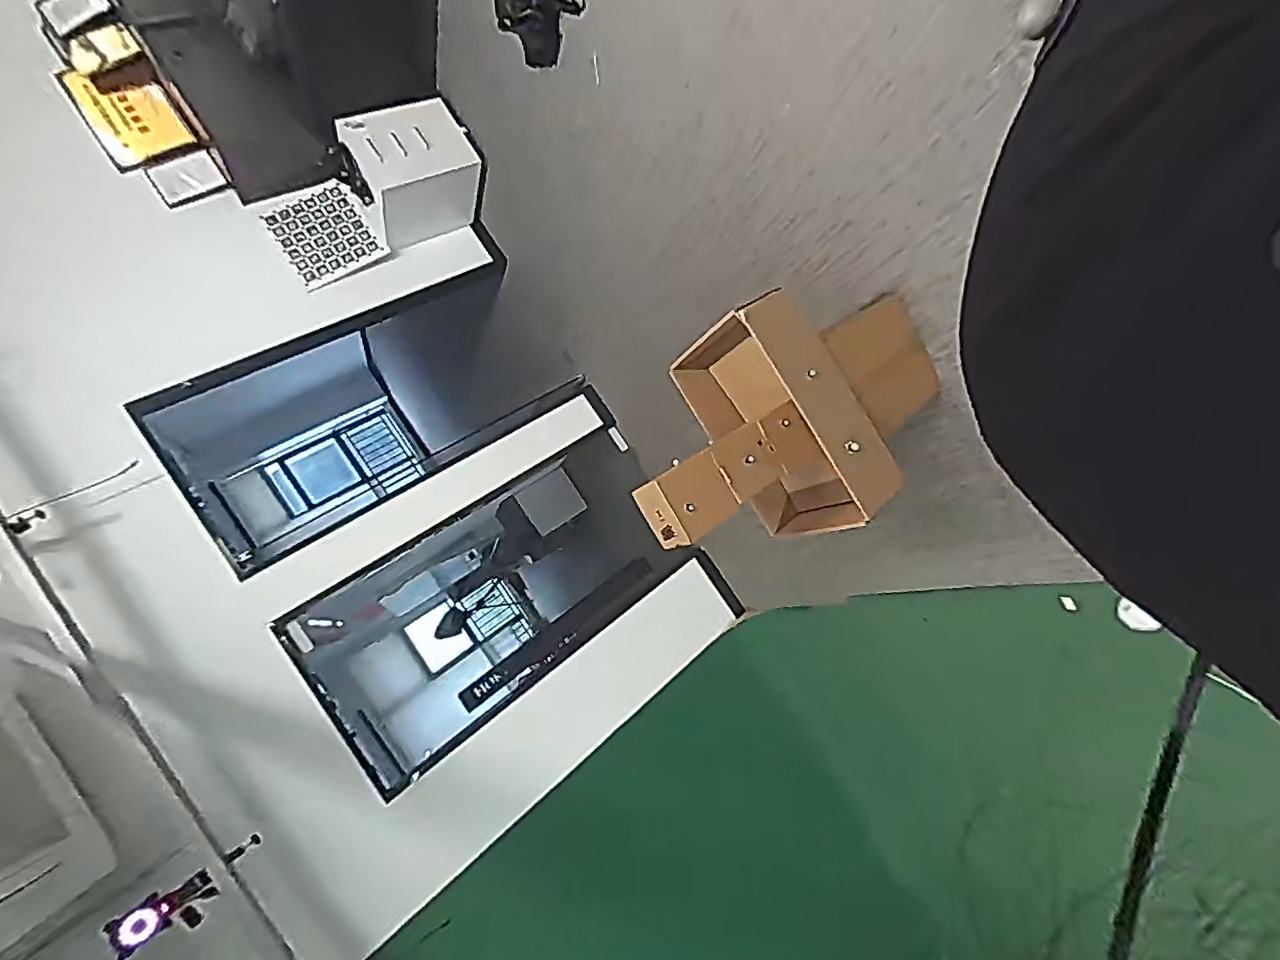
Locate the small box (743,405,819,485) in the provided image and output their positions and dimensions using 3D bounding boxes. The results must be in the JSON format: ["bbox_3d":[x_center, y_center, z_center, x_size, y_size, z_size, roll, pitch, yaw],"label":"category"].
[{"bbox_3d":[0.372,-0.087,1.511,0.168,0.176,0.179,60,157,0],"label":"small box"}]

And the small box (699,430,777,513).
[{"bbox_3d":[0.241,-0.011,1.449,0.168,0.176,0.179,59,154,2],"label":"small box"}]

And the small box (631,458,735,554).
[{"bbox_3d":[0.112,0.068,1.382,0.179,0.176,0.168,60,155,0],"label":"small box"}]
